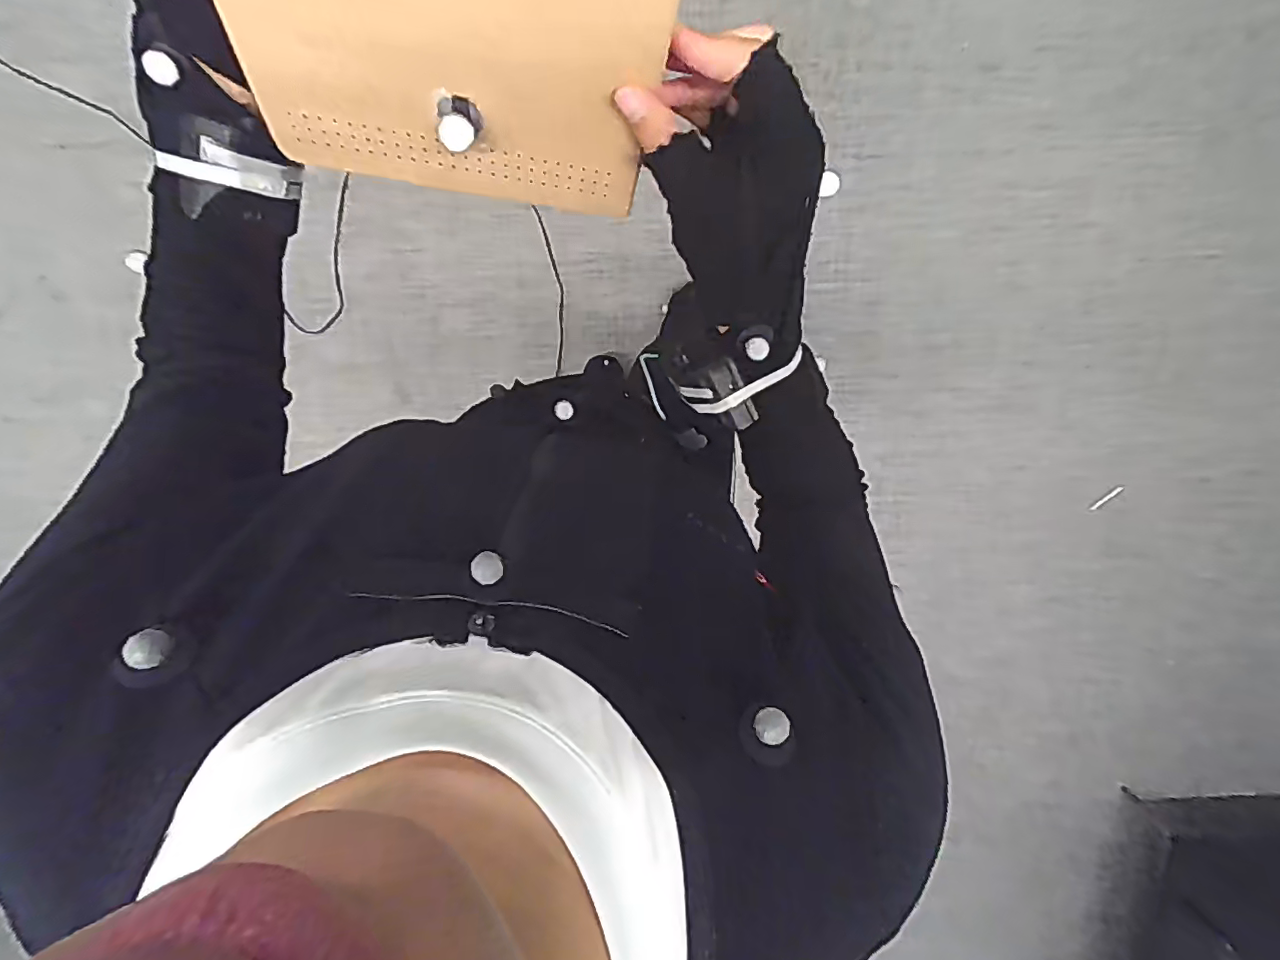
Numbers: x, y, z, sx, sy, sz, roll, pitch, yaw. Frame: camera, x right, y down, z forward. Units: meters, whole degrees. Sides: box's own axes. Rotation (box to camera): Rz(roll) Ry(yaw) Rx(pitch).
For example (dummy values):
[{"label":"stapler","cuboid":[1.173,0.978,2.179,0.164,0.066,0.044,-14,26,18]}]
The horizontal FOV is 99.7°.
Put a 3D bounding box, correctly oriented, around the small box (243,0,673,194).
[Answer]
[{"label":"small box","cuboid":[-0.072,-0.266,0.246,0.179,0.176,0.168,5,66,-12]}]
